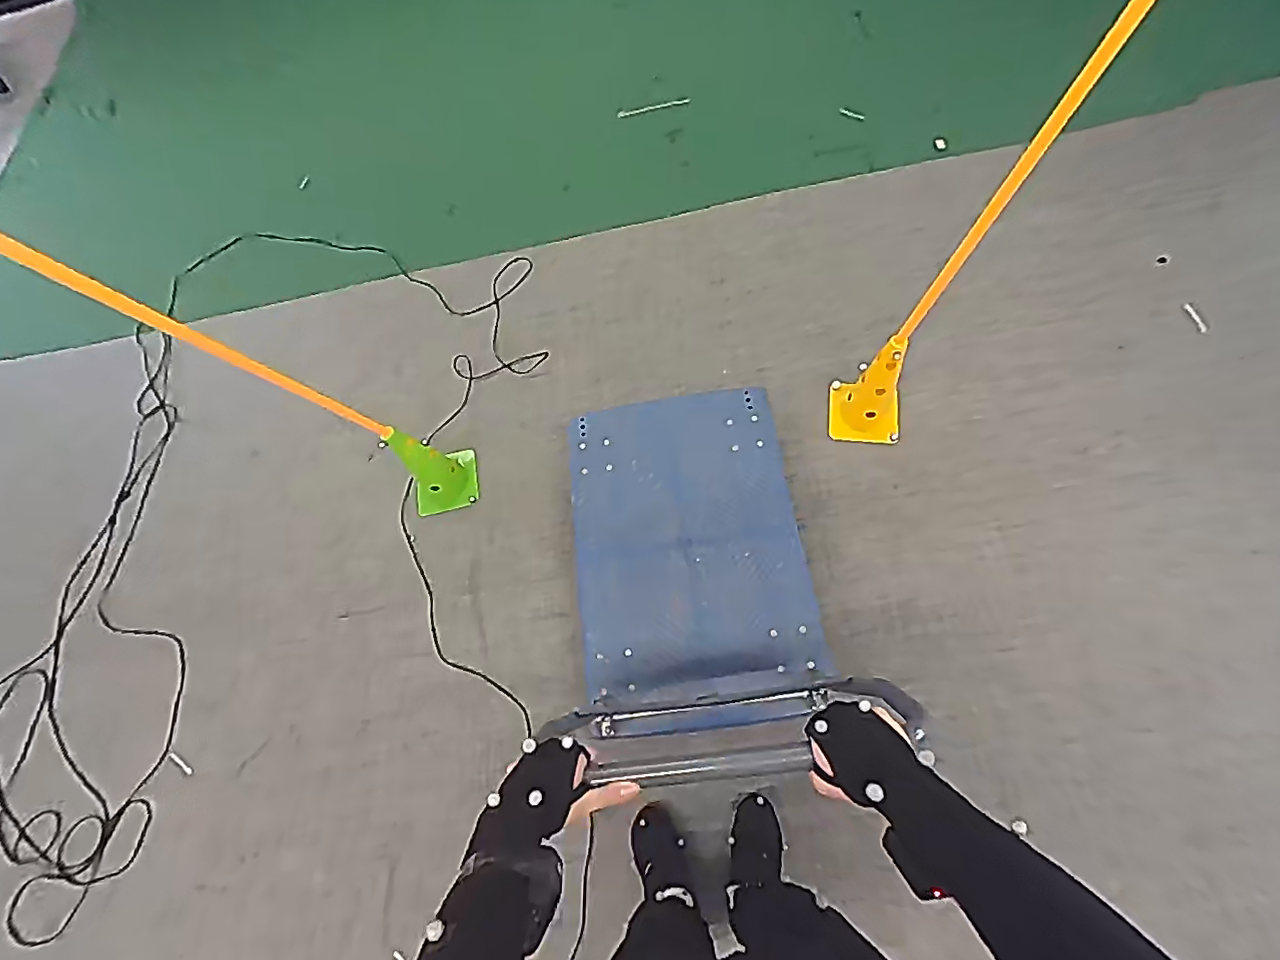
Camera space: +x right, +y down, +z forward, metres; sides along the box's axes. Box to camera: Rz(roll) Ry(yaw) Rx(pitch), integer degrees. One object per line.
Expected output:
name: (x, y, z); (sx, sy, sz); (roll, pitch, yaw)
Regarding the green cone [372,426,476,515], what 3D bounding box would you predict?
green cone: (-0.654, -0.063, 1.583); (0.202, 0.368, 0.200); (-15, 66, 4)
